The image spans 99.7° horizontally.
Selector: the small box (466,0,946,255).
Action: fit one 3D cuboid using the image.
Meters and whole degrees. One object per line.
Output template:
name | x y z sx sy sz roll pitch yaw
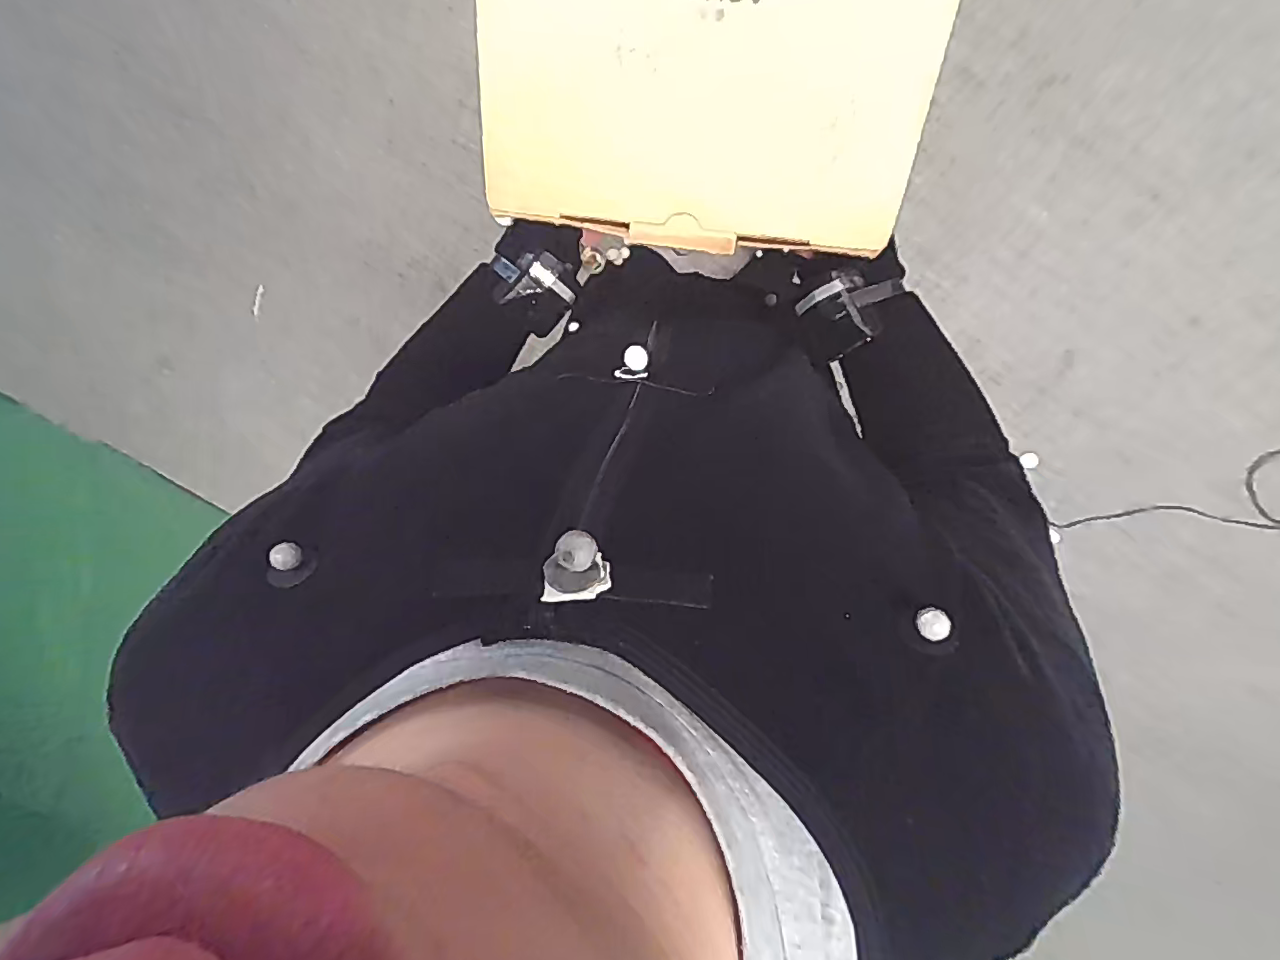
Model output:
small box | 0.031 -0.216 0.245 0.168 0.176 0.179 8 121 3
